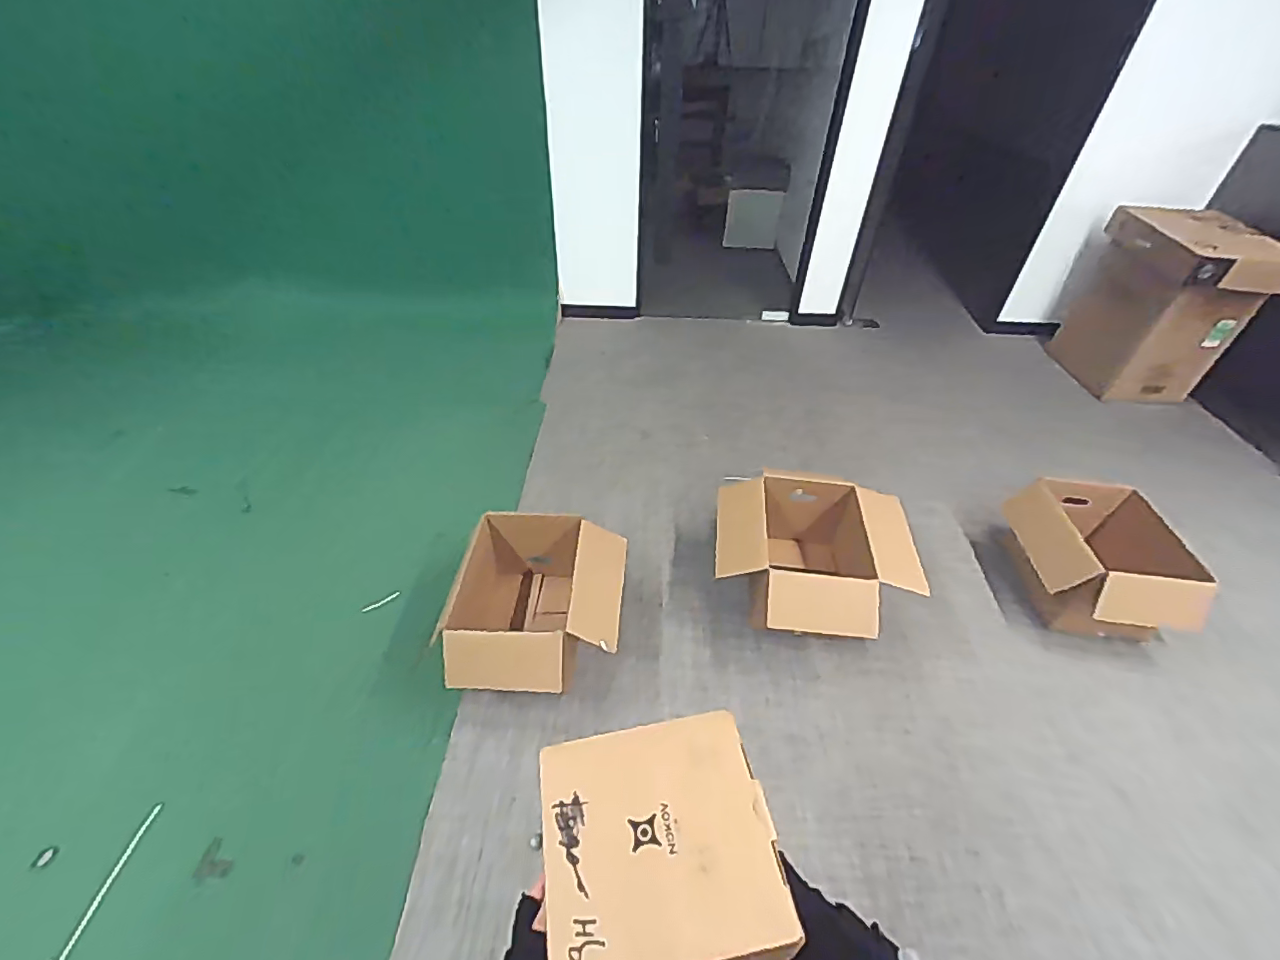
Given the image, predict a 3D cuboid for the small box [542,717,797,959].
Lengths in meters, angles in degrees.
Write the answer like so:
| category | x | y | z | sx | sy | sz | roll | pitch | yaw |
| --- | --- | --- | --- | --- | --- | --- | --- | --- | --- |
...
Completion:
| category | x | y | z | sx | sy | sz | roll | pitch | yaw |
| --- | --- | --- | --- | --- | --- | --- | --- | --- | --- |
| small box | 0.012 | 0.337 | 0.474 | 0.179 | 0.176 | 0.168 | -7 | 40 | -6 |
